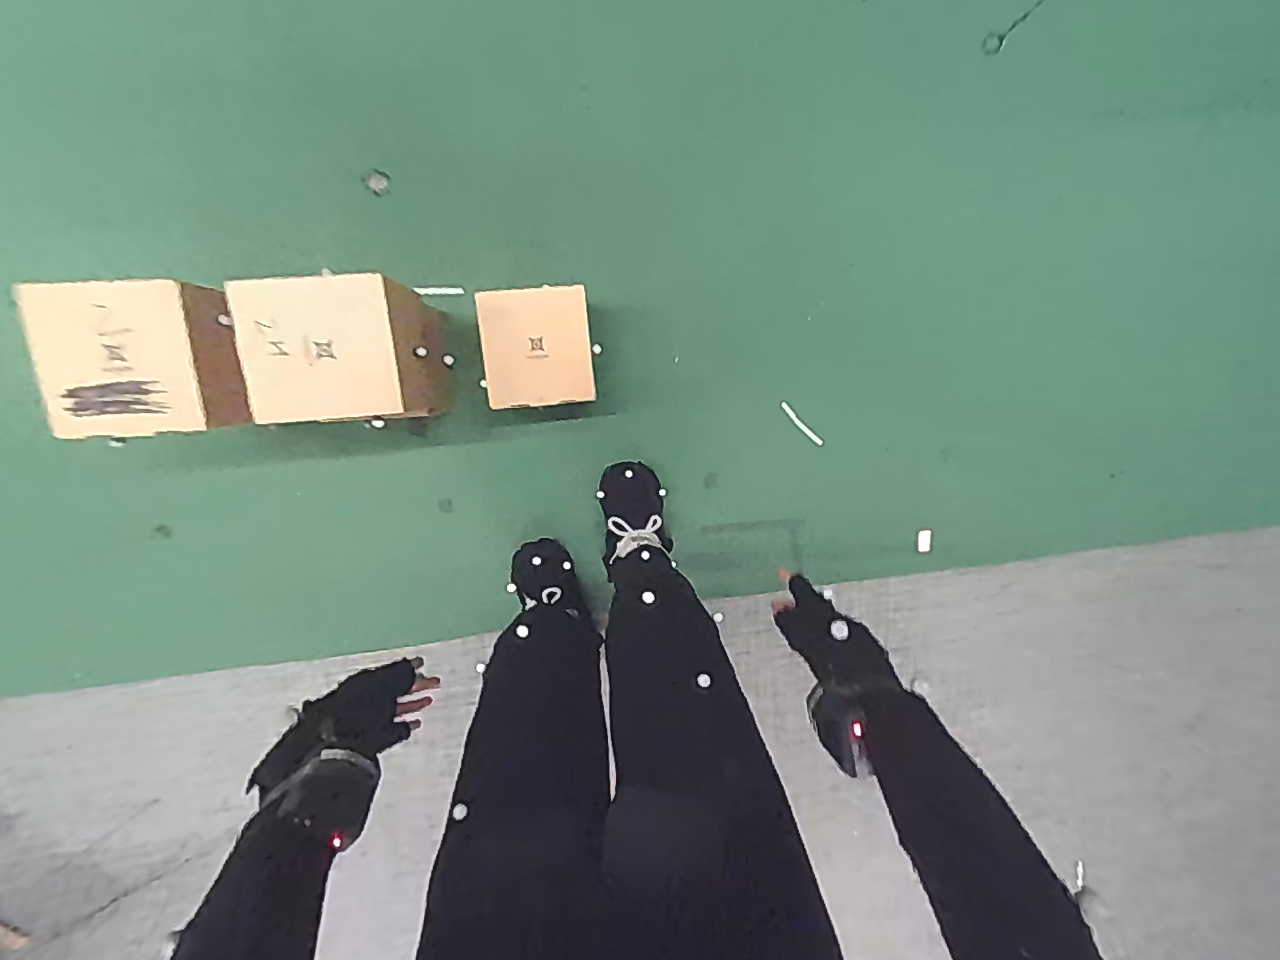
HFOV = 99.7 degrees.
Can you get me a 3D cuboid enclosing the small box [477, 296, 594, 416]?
[{"bbox_3d":[-0.172,-0.206,0.920,0.168,0.176,0.179,-7,101,-6],"label":"small box"}]
